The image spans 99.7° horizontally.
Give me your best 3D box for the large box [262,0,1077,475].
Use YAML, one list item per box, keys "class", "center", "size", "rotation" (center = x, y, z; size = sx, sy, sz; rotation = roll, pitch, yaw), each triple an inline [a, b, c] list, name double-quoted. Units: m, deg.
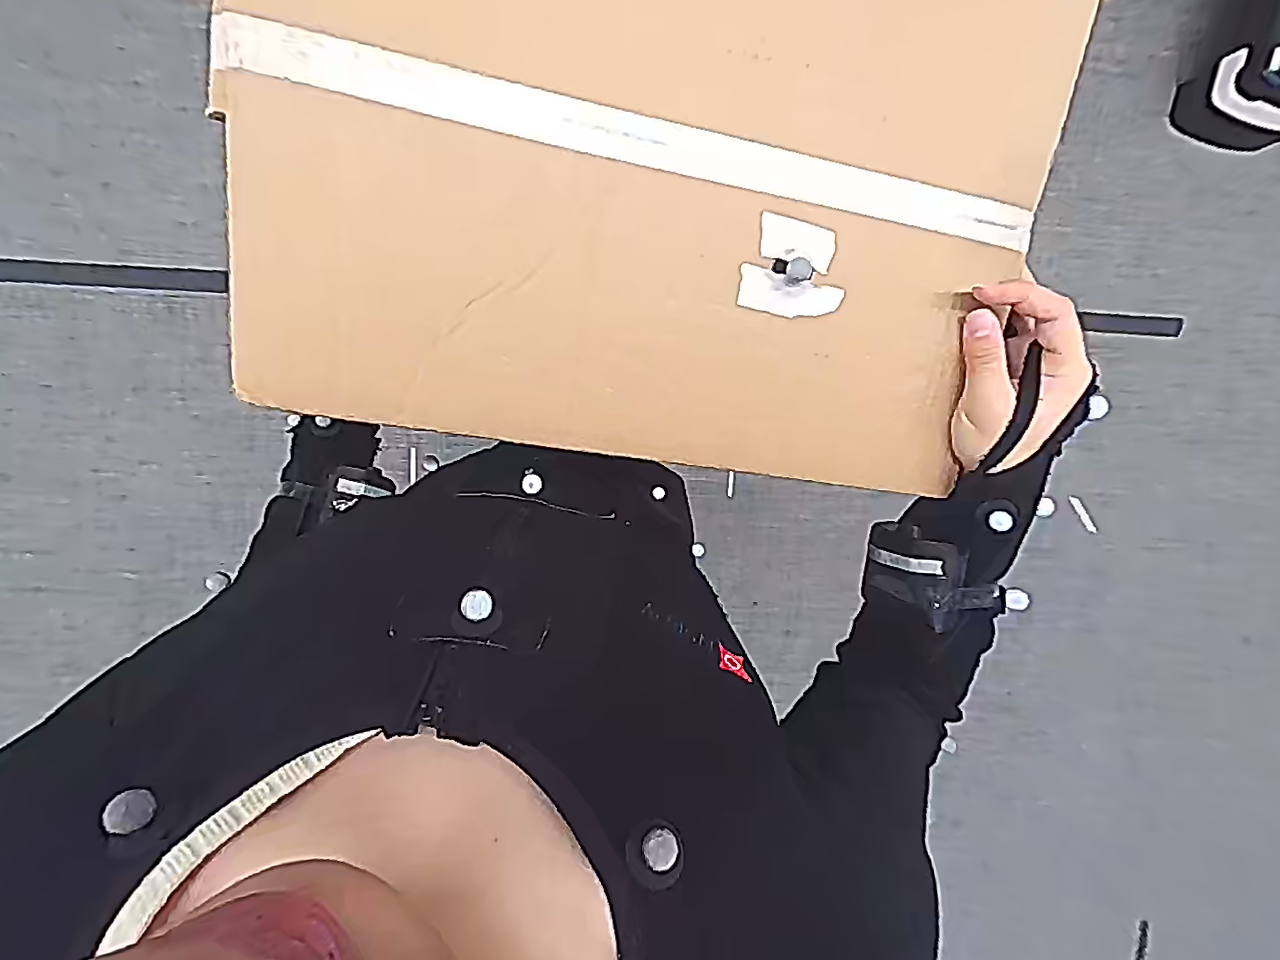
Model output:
- class: "large box"
  center: [-0.001, -0.205, 0.421]
  size: [0.408, 0.320, 0.320]
  rotation: [7, 104, -12]
